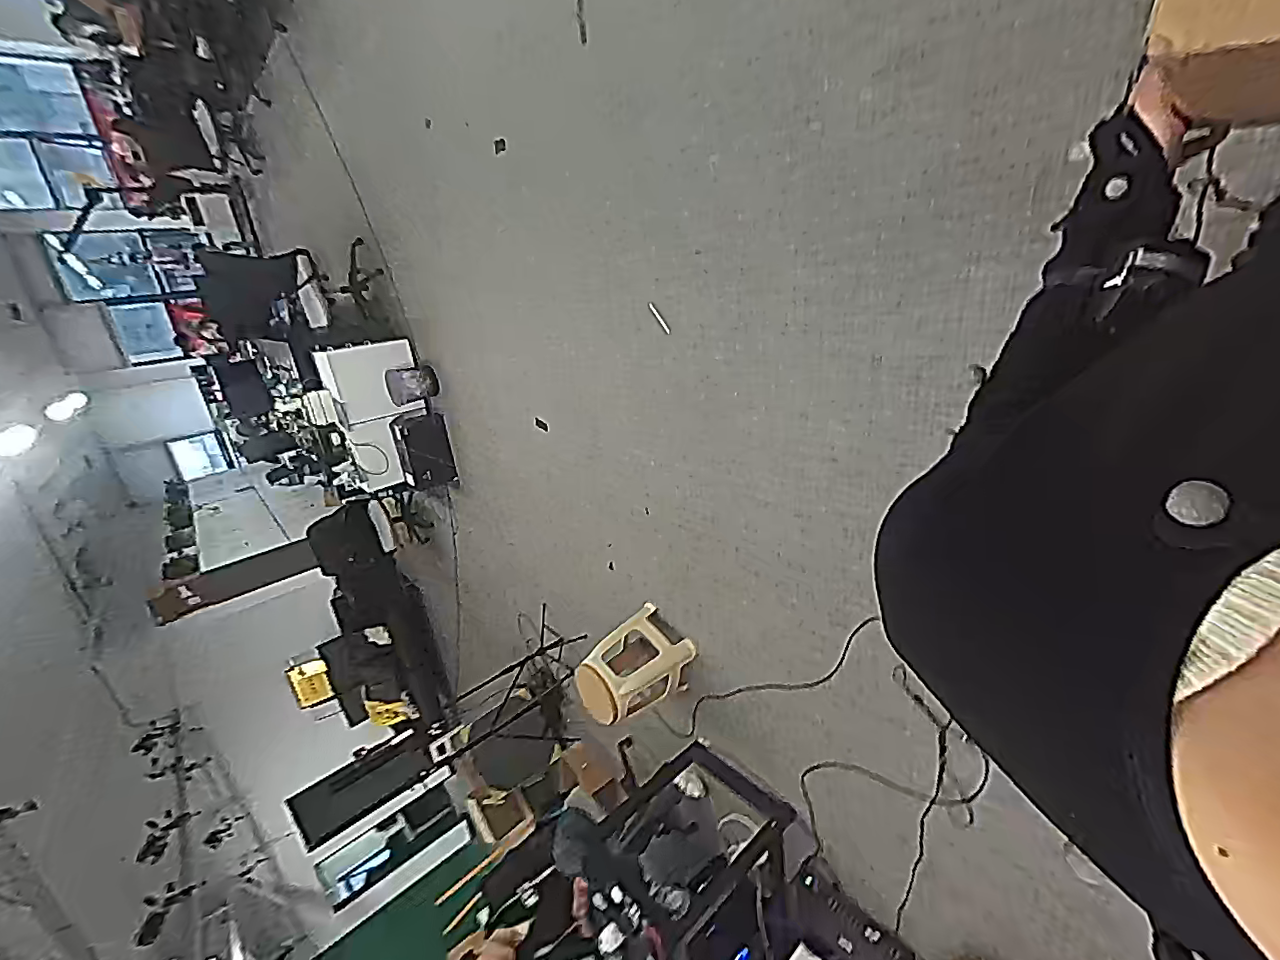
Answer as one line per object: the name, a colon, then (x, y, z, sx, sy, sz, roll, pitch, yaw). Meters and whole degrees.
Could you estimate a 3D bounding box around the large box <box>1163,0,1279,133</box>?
large box: (0.464, -0.308, 0.141, 0.408, 0.320, 0.320, 23, 124, 38)
